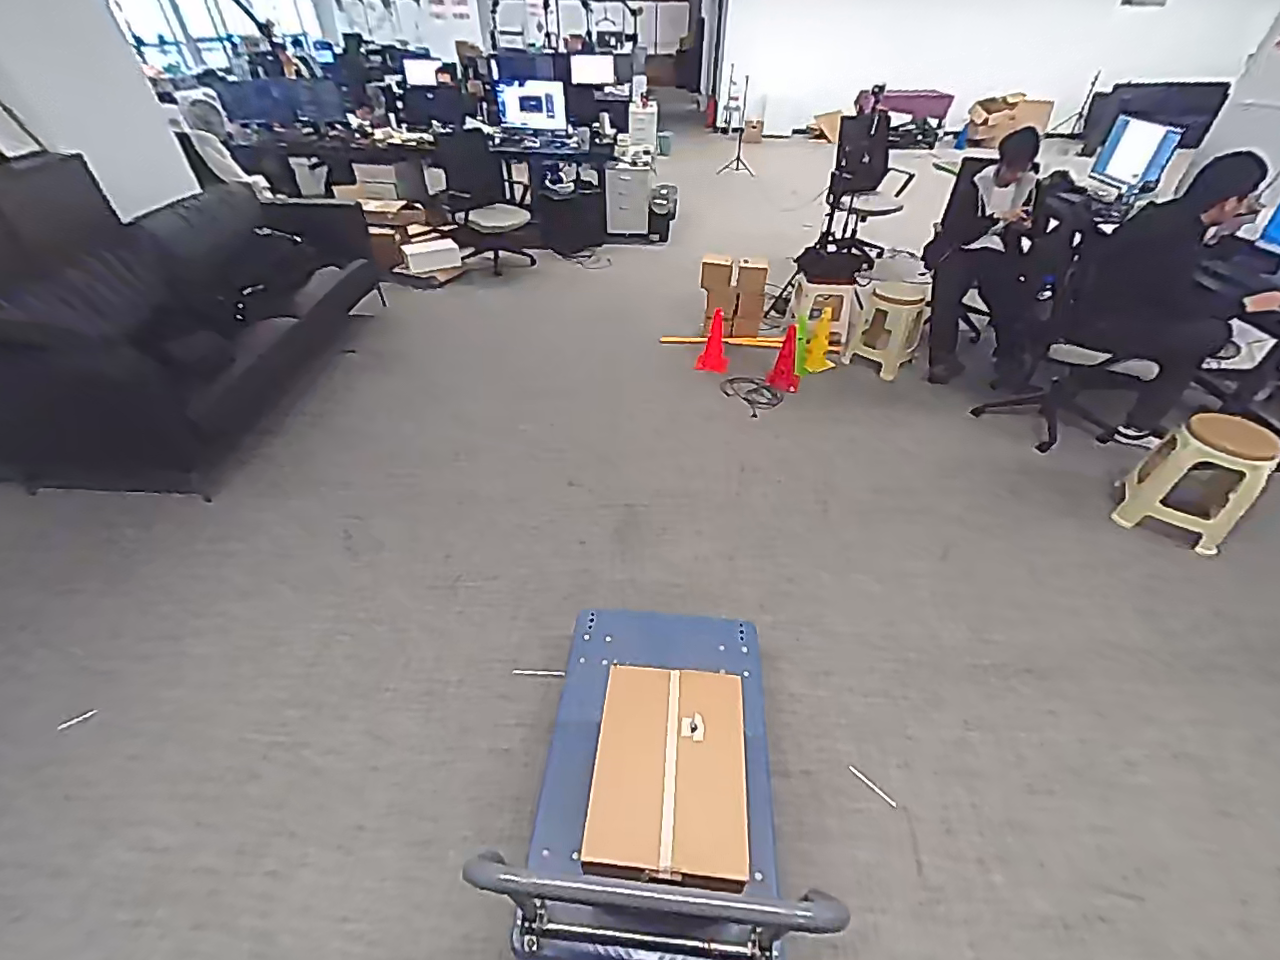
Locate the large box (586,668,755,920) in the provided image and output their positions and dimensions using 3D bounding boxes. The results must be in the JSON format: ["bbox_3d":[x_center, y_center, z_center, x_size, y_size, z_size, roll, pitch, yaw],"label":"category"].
[{"bbox_3d":[0.070,0.695,1.217,0.320,0.320,0.408,4,40,4],"label":"large box"}]
